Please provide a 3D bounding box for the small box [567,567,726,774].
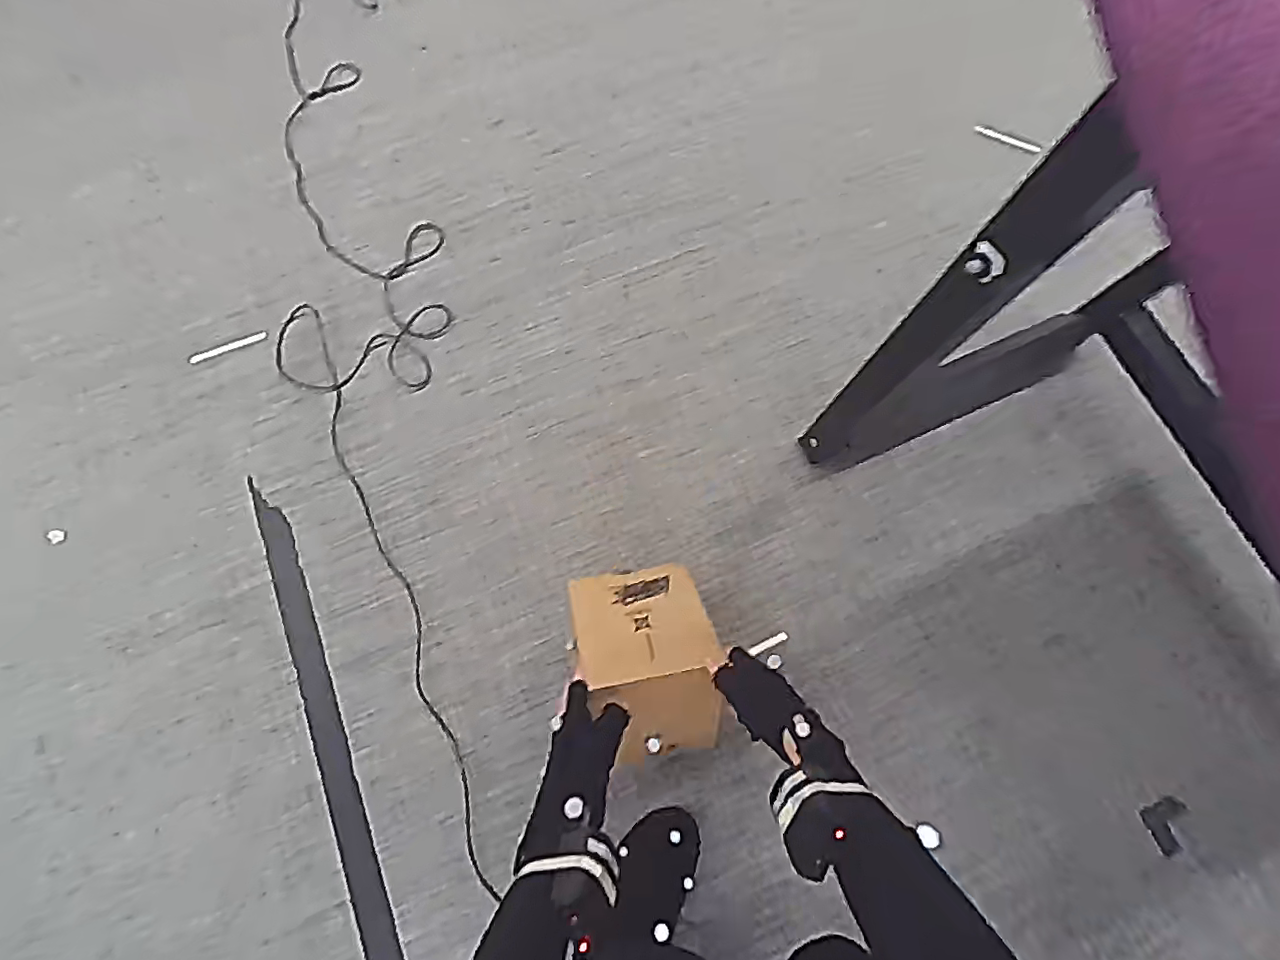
[{"bbox_3d":[-0.002,0.240,0.702,0.168,0.176,0.179,-7,31,-12],"label":"small box"}]
